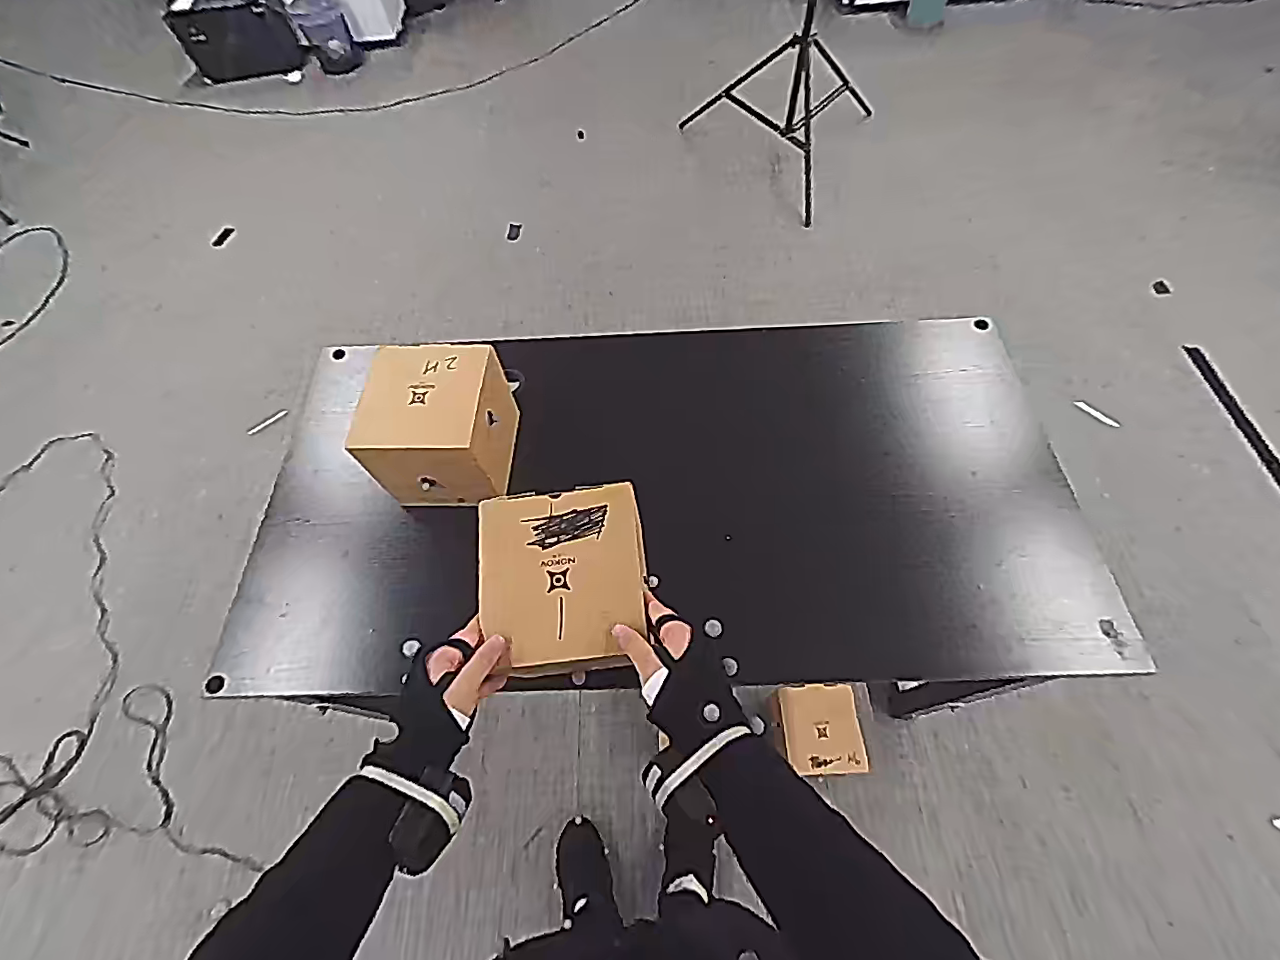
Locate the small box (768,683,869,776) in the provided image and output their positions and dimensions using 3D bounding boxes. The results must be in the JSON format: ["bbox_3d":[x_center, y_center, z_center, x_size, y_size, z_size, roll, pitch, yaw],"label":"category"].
[{"bbox_3d":[0.395,0.570,1.229,0.168,0.176,0.179,-4,60,2],"label":"small box"}]

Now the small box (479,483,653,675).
[{"bbox_3d":[-0.077,0.121,0.619,0.168,0.176,0.179,-8,68,1],"label":"small box"}]

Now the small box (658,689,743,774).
[{"bbox_3d":[0.133,0.580,1.243,0.179,0.176,0.168,-3,60,3],"label":"small box"}]

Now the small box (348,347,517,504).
[{"bbox_3d":[-0.288,-0.073,0.797,0.168,0.176,0.179,0,60,3],"label":"small box"}]
